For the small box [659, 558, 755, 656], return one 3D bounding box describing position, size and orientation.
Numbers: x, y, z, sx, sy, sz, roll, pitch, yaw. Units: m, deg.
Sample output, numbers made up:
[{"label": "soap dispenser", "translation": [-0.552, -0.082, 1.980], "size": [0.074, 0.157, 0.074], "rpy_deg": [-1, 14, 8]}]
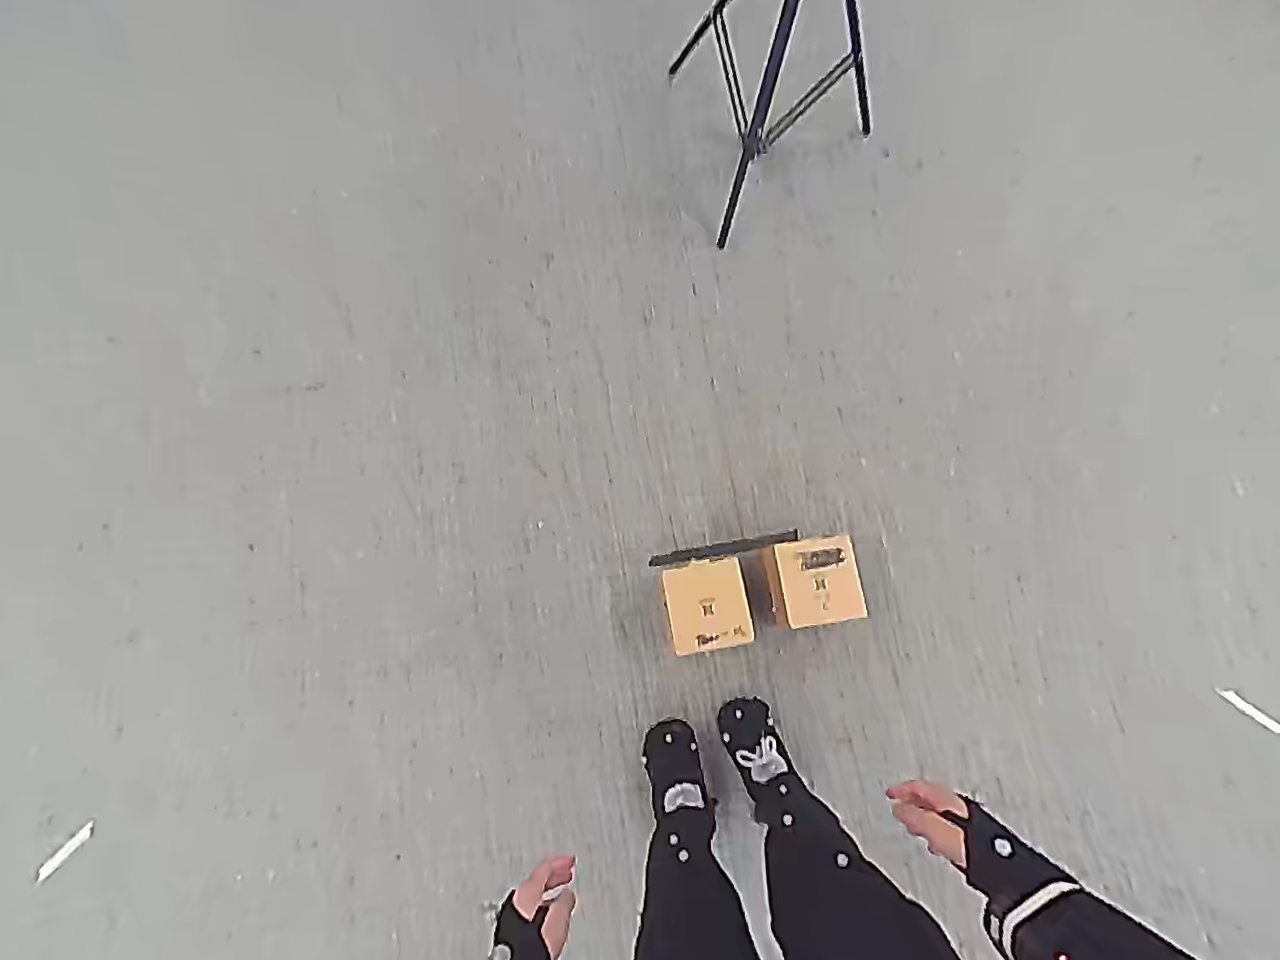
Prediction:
[{"label": "small box", "translation": [0.137, 0.278, 1.183], "size": [0.168, 0.176, 0.179], "rpy_deg": [-10, 77, -3]}]
